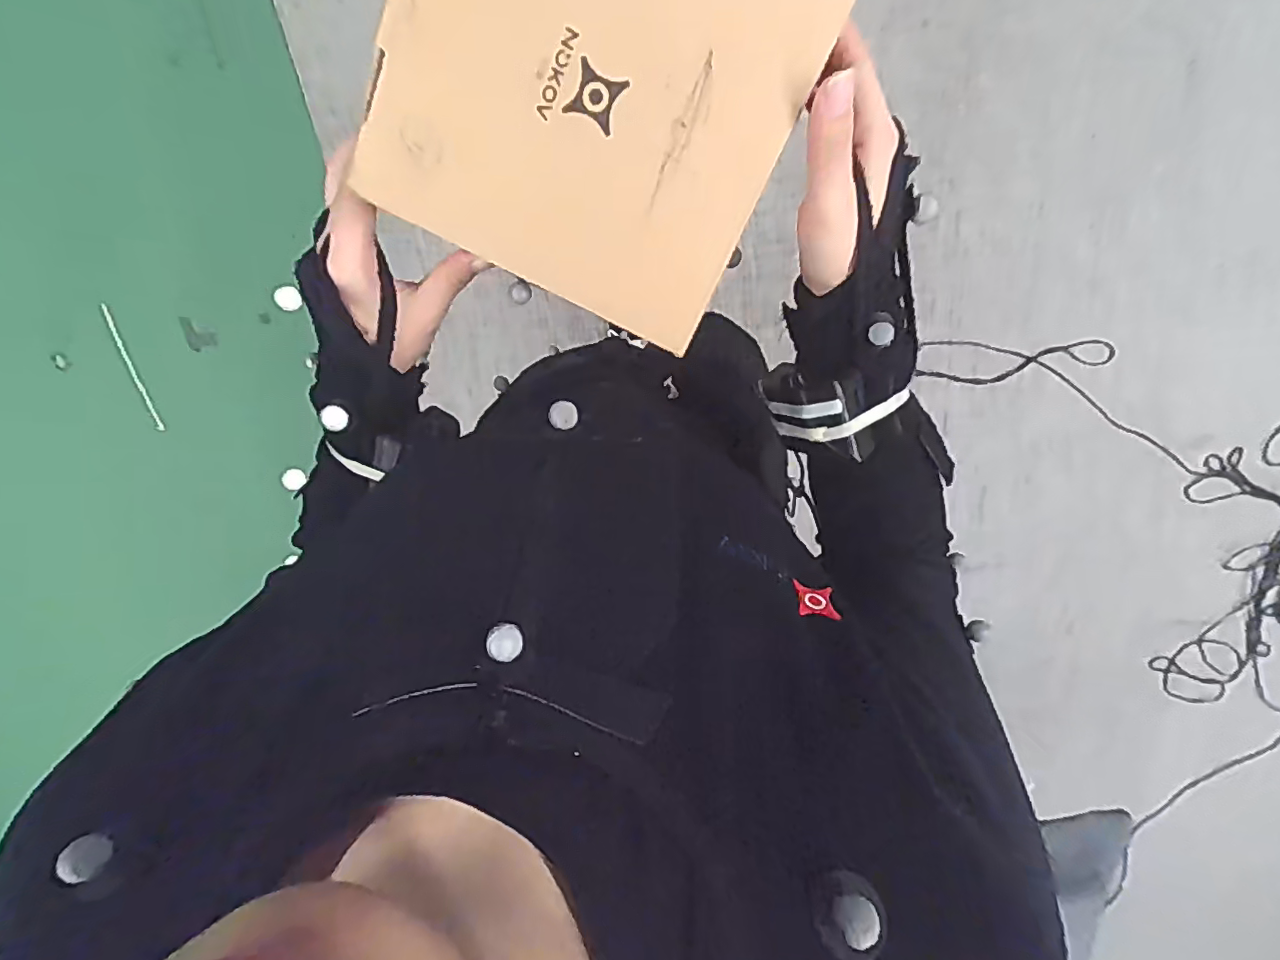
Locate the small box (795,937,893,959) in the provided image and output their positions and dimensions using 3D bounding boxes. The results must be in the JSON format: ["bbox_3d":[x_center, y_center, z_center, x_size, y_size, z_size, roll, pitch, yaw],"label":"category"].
[{"bbox_3d":[0.371,0.912,0.900,0.168,0.176,0.179,-16,110,8],"label":"small box"}]
